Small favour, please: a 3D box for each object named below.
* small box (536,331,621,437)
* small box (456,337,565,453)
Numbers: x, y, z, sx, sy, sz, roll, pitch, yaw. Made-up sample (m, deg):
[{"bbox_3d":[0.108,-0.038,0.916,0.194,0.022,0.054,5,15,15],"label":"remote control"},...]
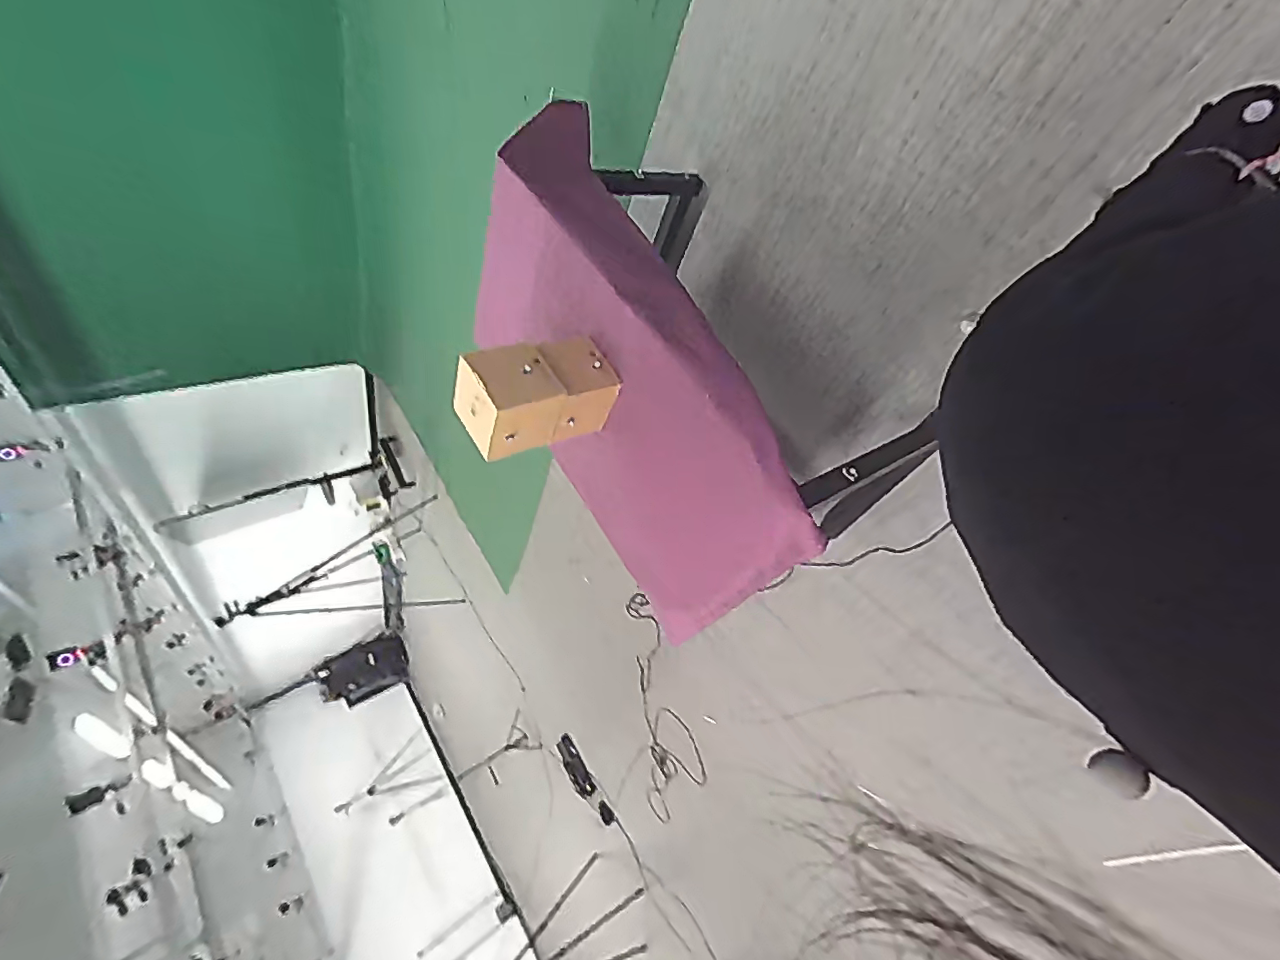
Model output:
[{"bbox_3d":[-0.171,-0.234,1.305,0.168,0.176,0.179,56,142,17],"label":"small box"},{"bbox_3d":[-0.287,-0.192,1.196,0.168,0.176,0.179,54,142,18],"label":"small box"}]
